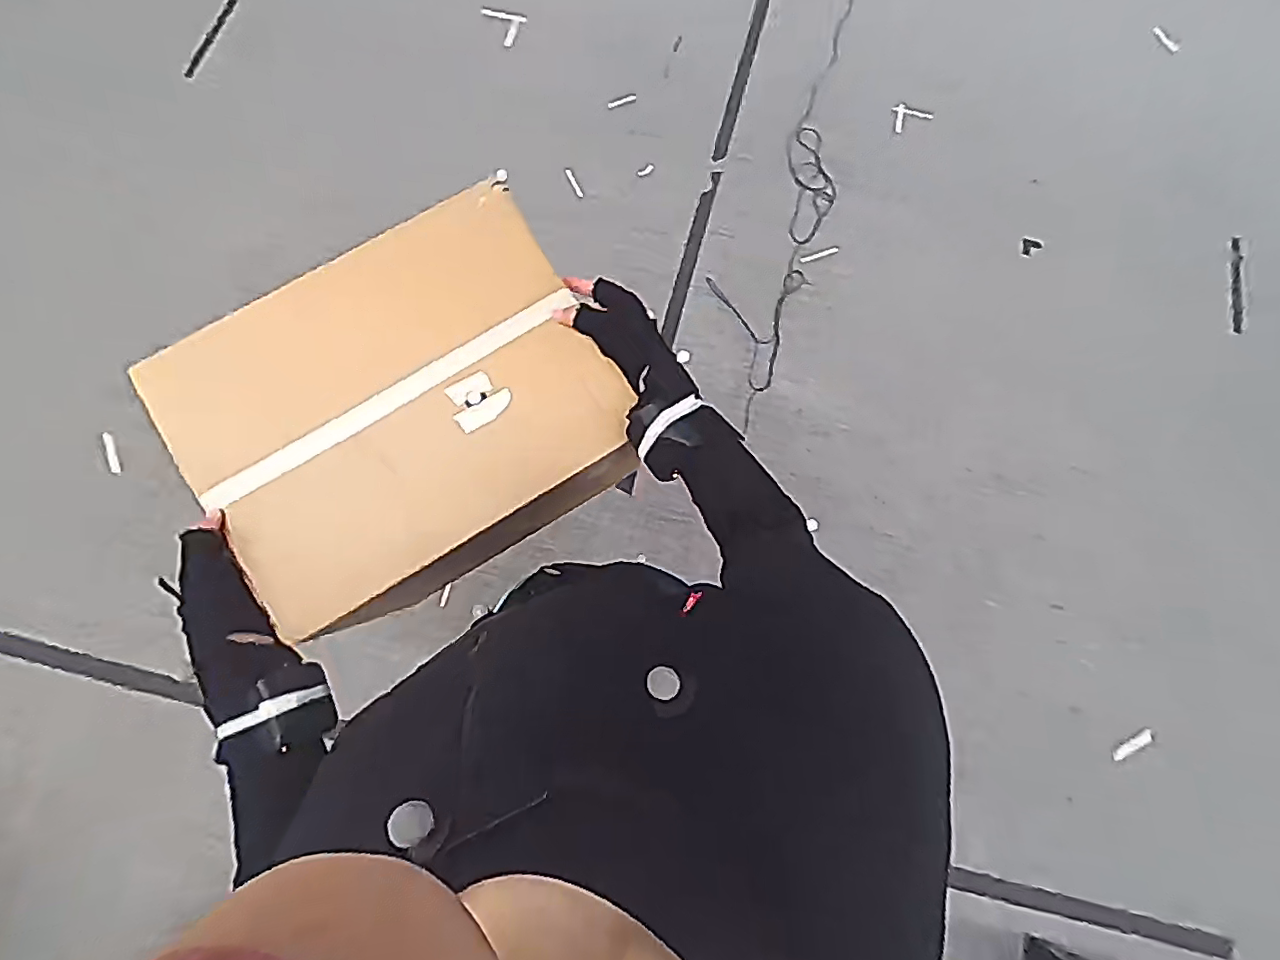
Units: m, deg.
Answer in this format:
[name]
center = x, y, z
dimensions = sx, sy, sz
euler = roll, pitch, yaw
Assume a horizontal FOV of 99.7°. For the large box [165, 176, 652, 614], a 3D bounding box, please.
[large box]
center = -0.240, -0.080, 0.695
dimensions = 0.408, 0.320, 0.320
euler = -30, 87, -7
